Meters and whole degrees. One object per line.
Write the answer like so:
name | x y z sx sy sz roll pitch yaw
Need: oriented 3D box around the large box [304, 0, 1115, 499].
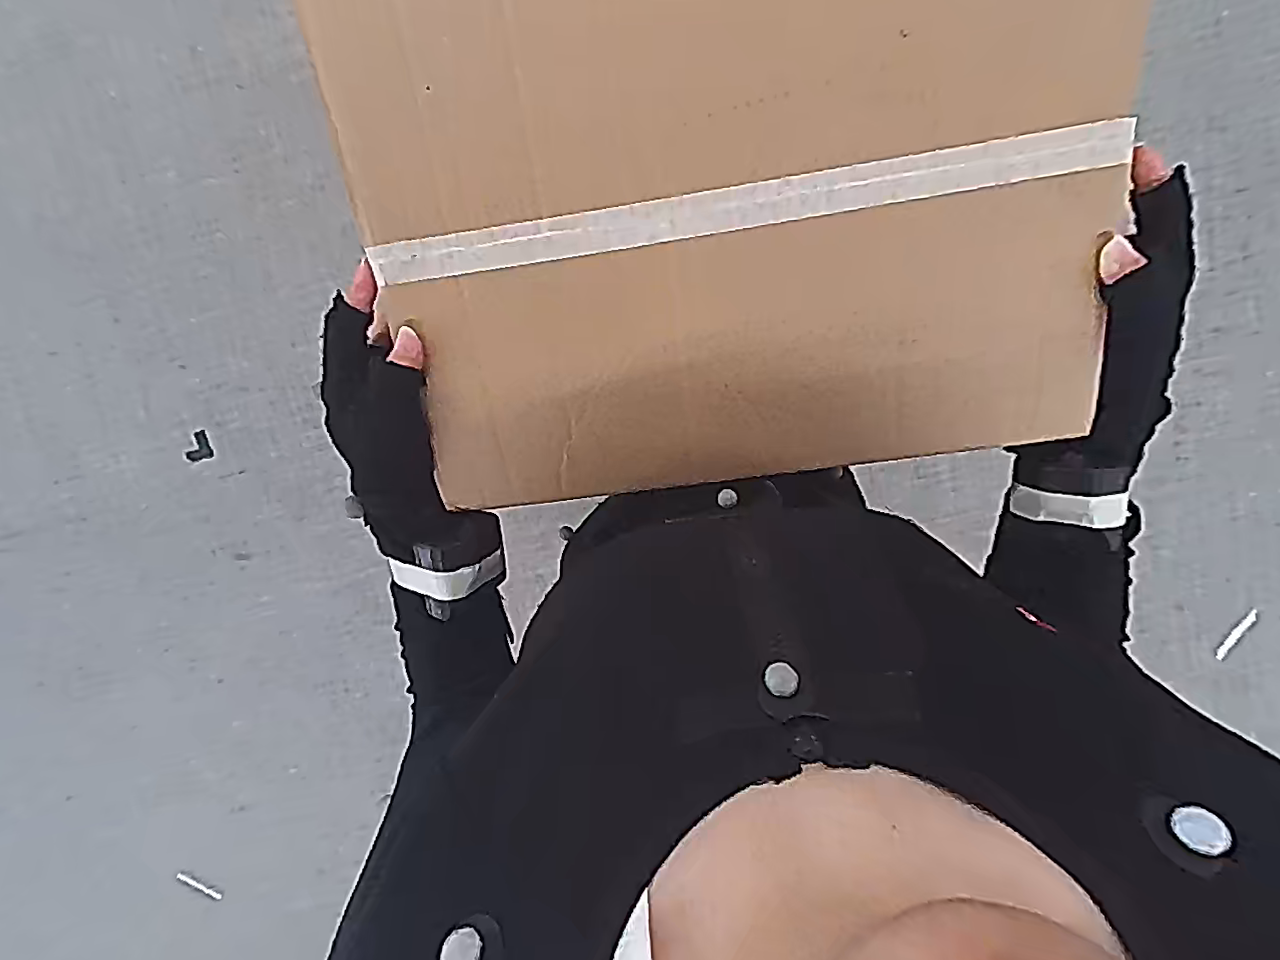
large box | 0.050 -0.208 0.441 0.408 0.320 0.320 -7 110 4
